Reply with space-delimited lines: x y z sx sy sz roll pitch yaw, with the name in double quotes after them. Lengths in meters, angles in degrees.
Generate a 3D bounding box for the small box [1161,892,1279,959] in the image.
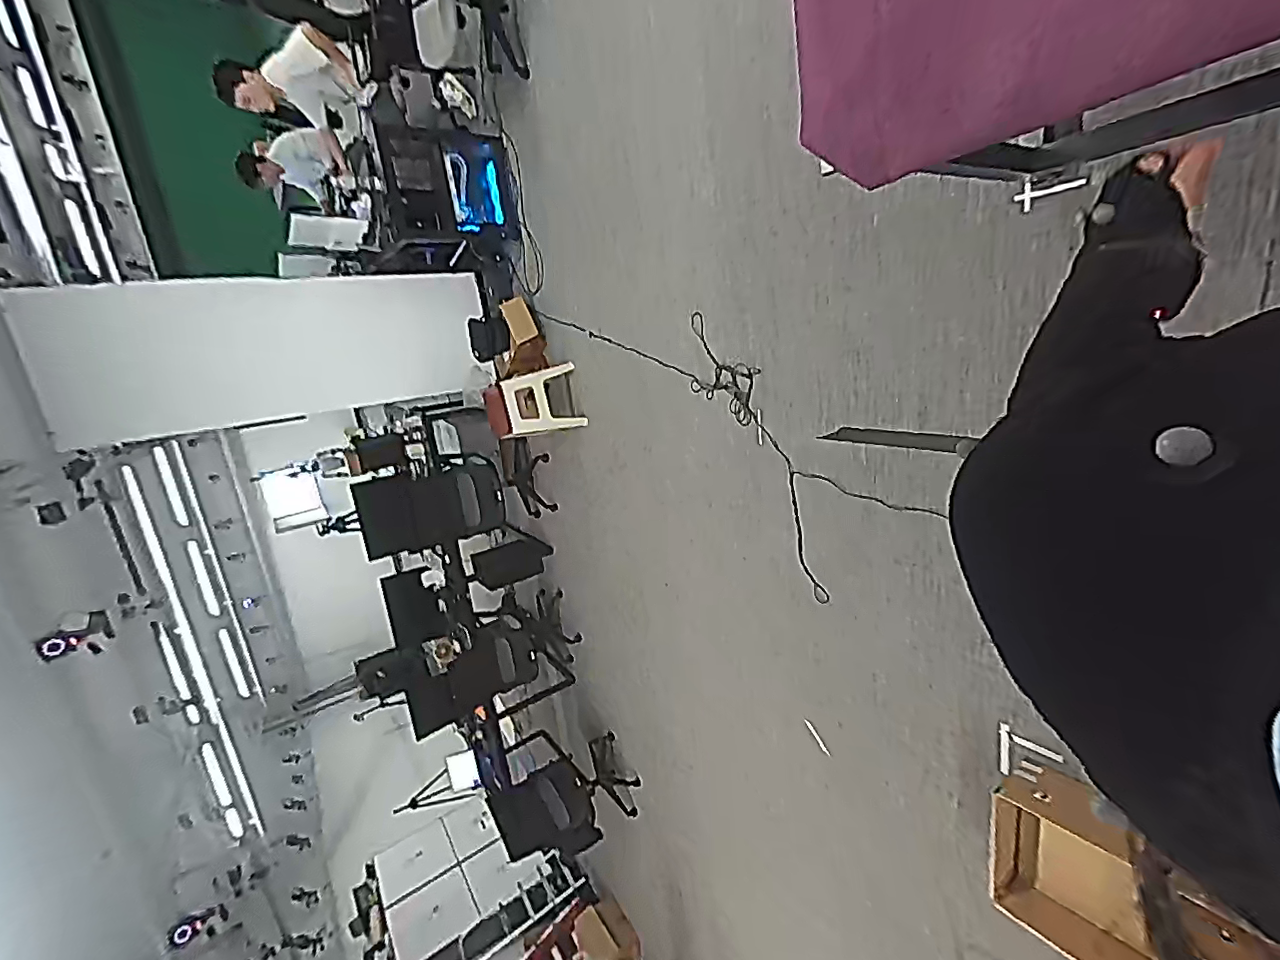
1.277 1.071 1.185 0.168 0.176 0.179 10 113 56 "small box"
